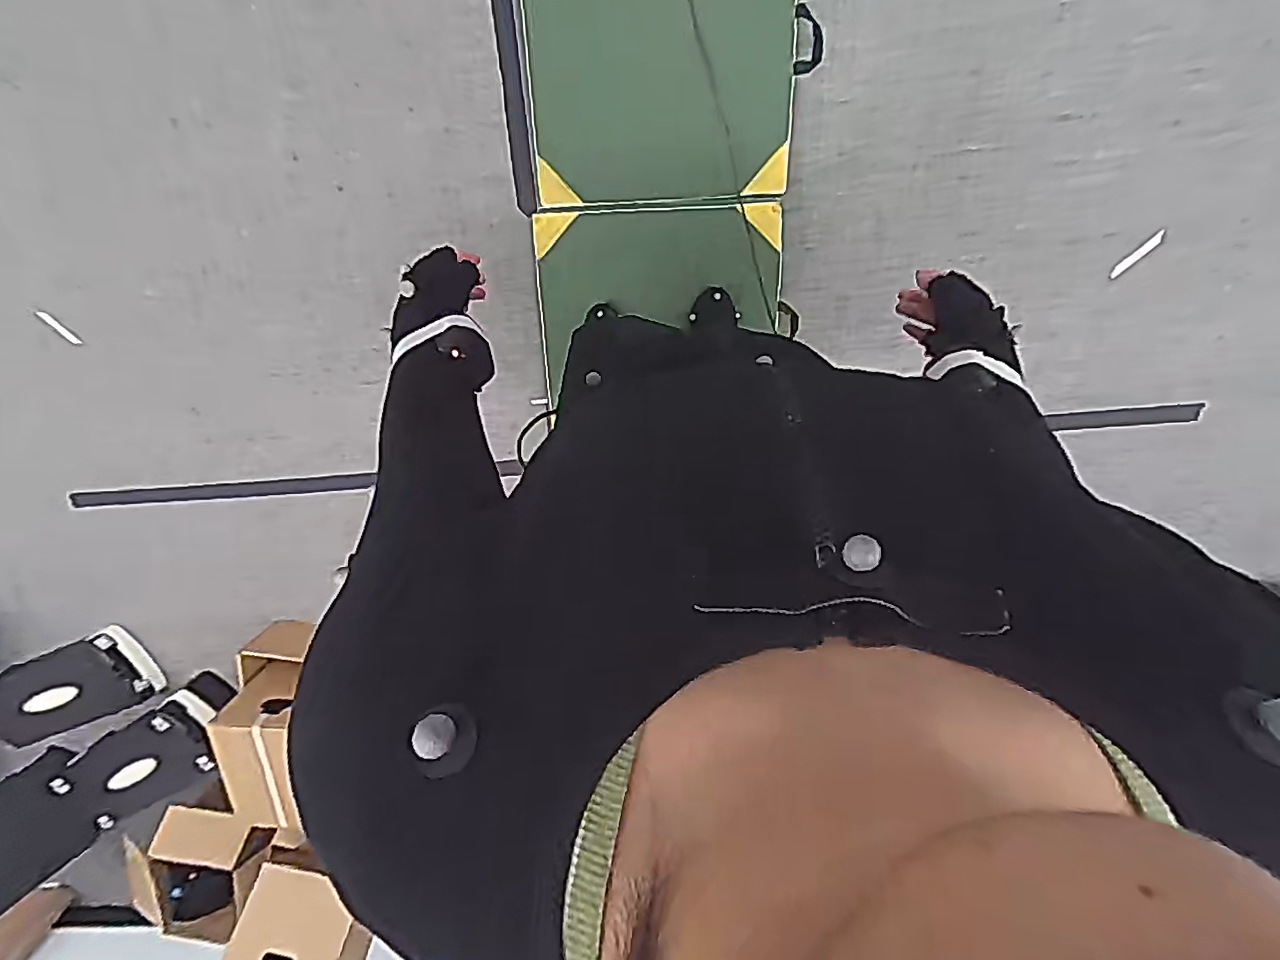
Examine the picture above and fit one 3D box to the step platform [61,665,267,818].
[{"bbox_3d":[-1.726,0.954,1.962,0.684,0.204,0.286,-31,106,13],"label":"step platform"}]
